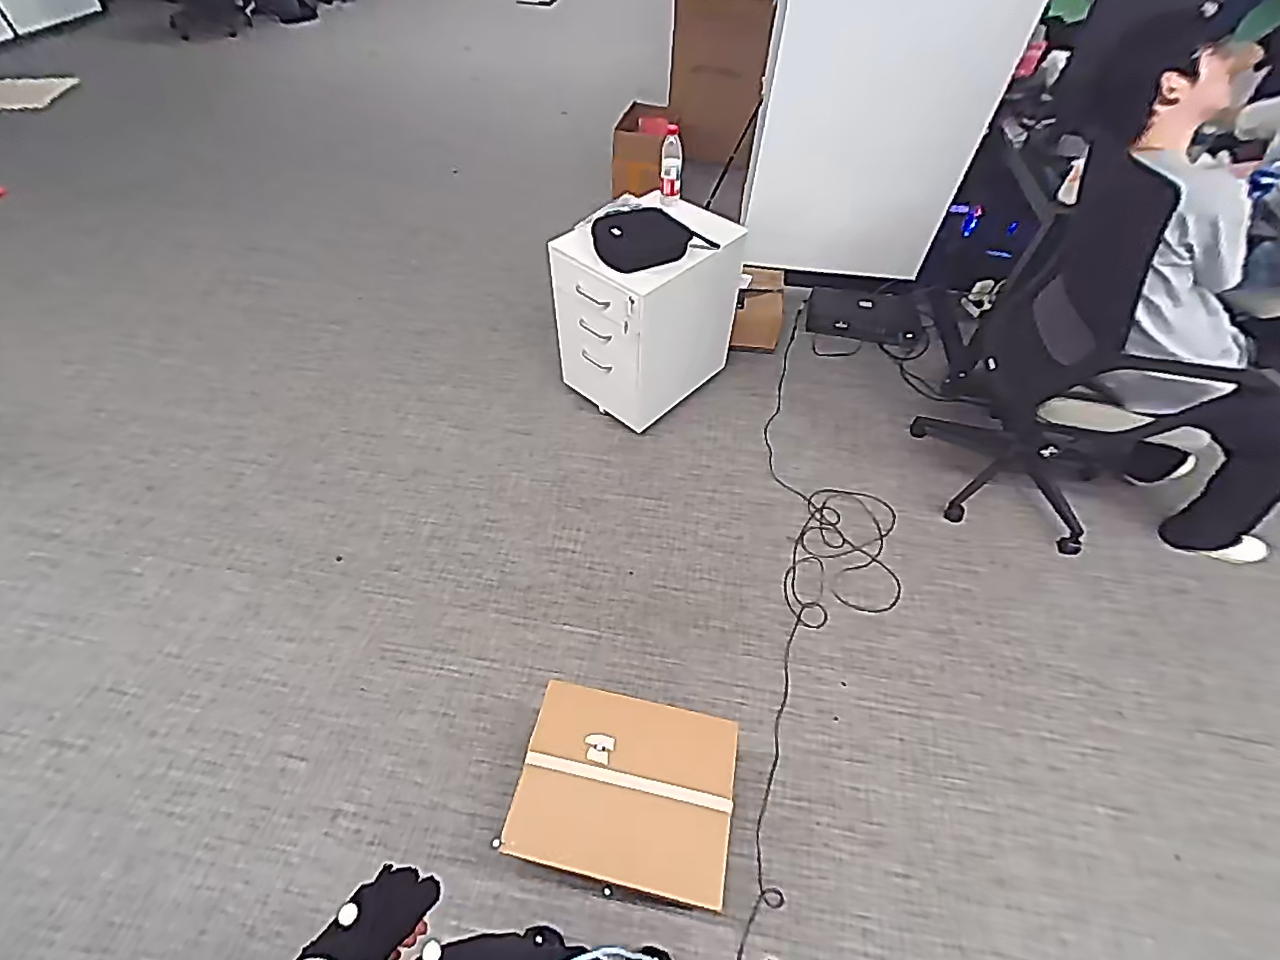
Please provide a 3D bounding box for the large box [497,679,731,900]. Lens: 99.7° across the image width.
[{"bbox_3d":[-0.036,0.664,1.159,0.408,0.320,0.320,10,52,7],"label":"large box"}]
